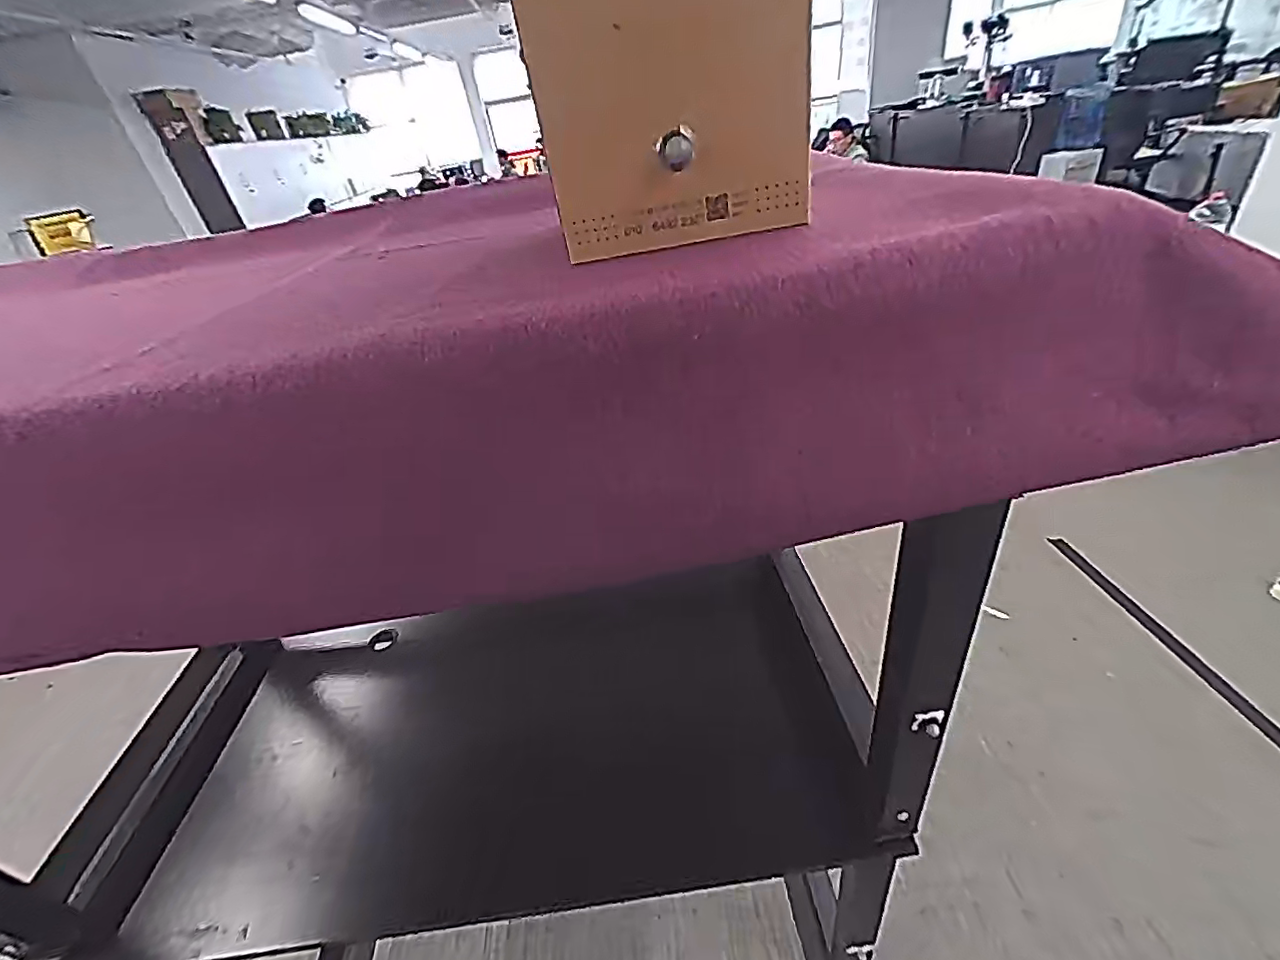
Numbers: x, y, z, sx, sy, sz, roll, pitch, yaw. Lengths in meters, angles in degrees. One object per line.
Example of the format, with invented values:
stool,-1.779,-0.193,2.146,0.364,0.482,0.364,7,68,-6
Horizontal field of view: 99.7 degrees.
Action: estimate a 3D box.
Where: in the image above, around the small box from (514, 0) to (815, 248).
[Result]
small box,0.016,-0.273,0.379,0.168,0.176,0.179,-8,34,5
